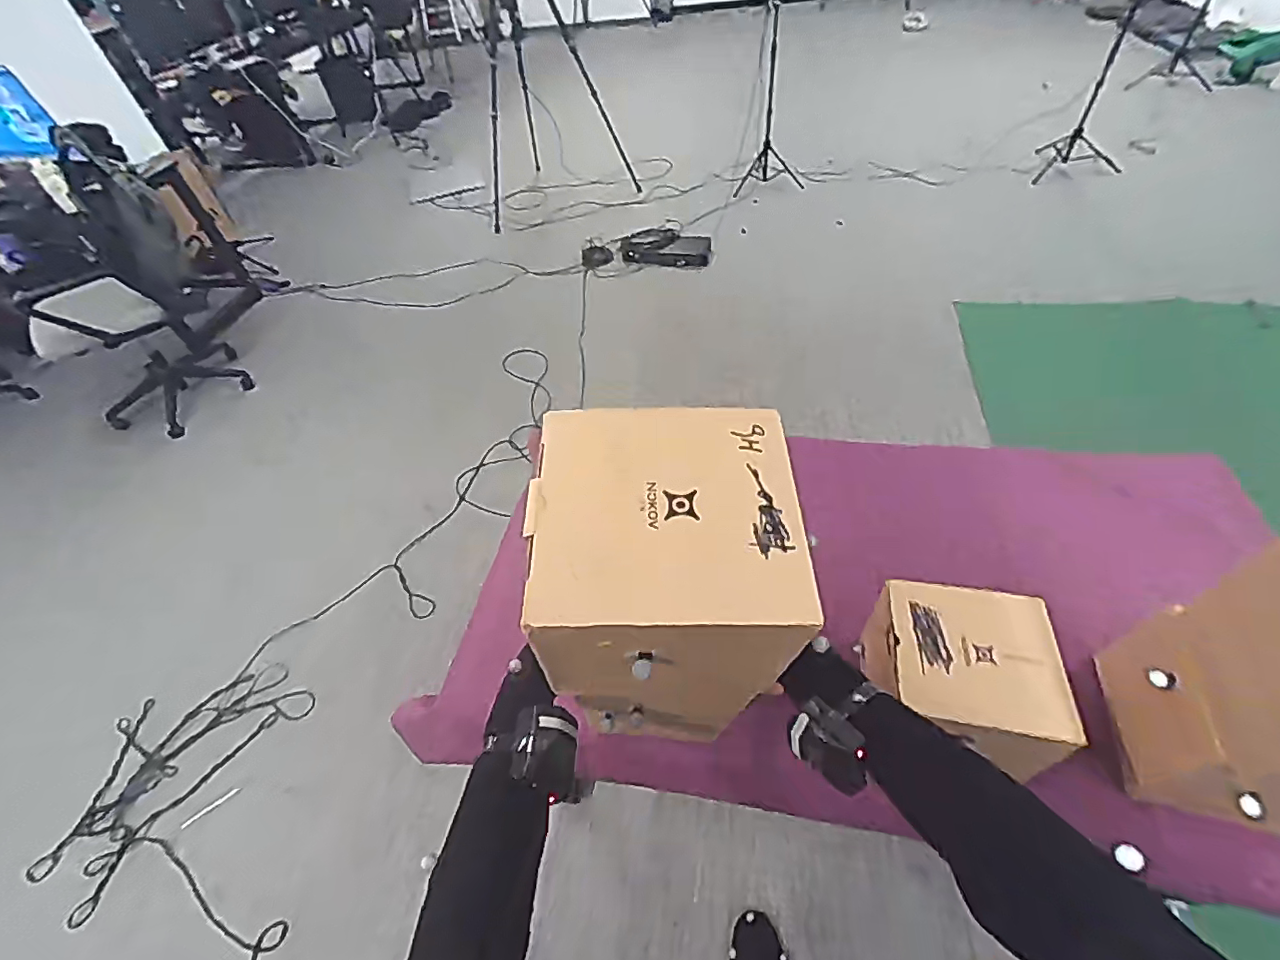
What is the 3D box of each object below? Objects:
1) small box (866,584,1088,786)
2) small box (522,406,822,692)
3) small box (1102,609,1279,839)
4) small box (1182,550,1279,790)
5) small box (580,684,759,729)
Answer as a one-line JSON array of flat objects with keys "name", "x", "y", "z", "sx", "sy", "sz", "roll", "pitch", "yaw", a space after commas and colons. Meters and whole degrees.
[{"name": "small box", "x": 0.381, "y": 0.250, "z": 0.656, "sx": 0.179, "sy": 0.176, "sz": 0.168, "roll": 6, "pitch": 49, "yaw": 12}, {"name": "small box", "x": 0.019, "y": 0.060, "z": 0.417, "sx": 0.179, "sy": 0.176, "sz": 0.168, "roll": -1, "pitch": 56, "yaw": 0}, {"name": "small box", "x": 0.666, "y": 0.274, "z": 0.600, "sx": 0.168, "sy": 0.176, "sz": 0.179, "roll": 9, "pitch": 51, "yaw": 15}, {"name": "small box", "x": 0.643, "y": 0.179, "z": 0.467, "sx": 0.168, "sy": 0.176, "sz": 0.179, "roll": 7, "pitch": 50, "yaw": 13}, {"name": "small box", "x": 0.025, "y": 0.142, "z": 0.560, "sx": 0.168, "sy": 0.176, "sz": 0.179, "roll": 6, "pitch": 56, "yaw": 3}]
